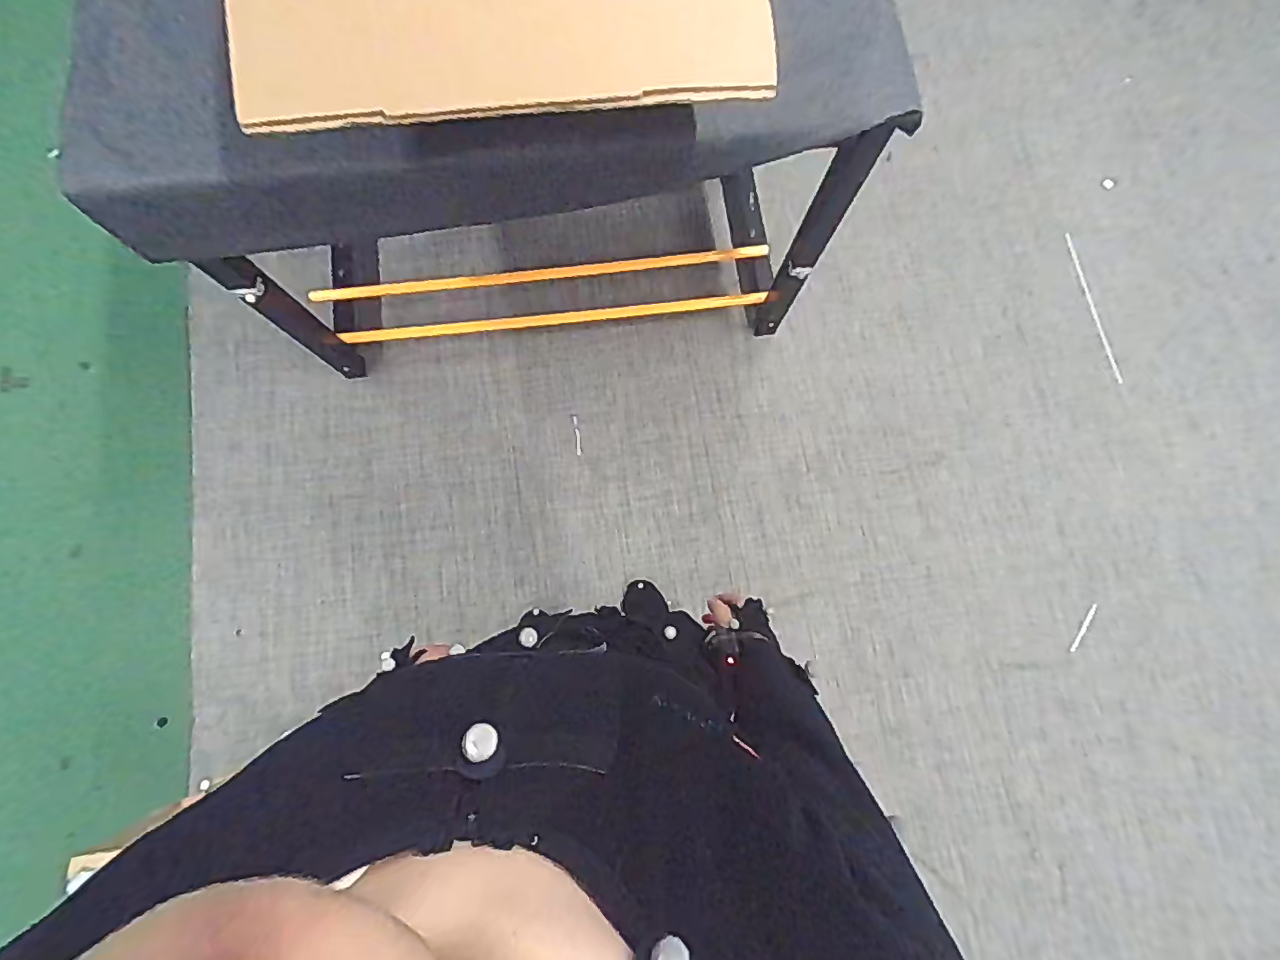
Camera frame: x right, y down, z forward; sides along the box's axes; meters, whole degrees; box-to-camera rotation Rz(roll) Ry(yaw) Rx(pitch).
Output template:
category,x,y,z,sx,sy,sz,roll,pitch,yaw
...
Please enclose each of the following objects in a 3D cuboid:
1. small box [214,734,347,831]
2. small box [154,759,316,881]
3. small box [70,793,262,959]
category,x,y,z,sx,sy,sz,roll,pitch,yaw
small box,-0.771,0.682,1.183,0.179,0.176,0.168,-18,80,-4
small box,-0.756,0.655,1.024,0.168,0.176,0.179,-21,81,-4
small box,-0.738,0.635,0.860,0.168,0.176,0.179,-8,81,-3
